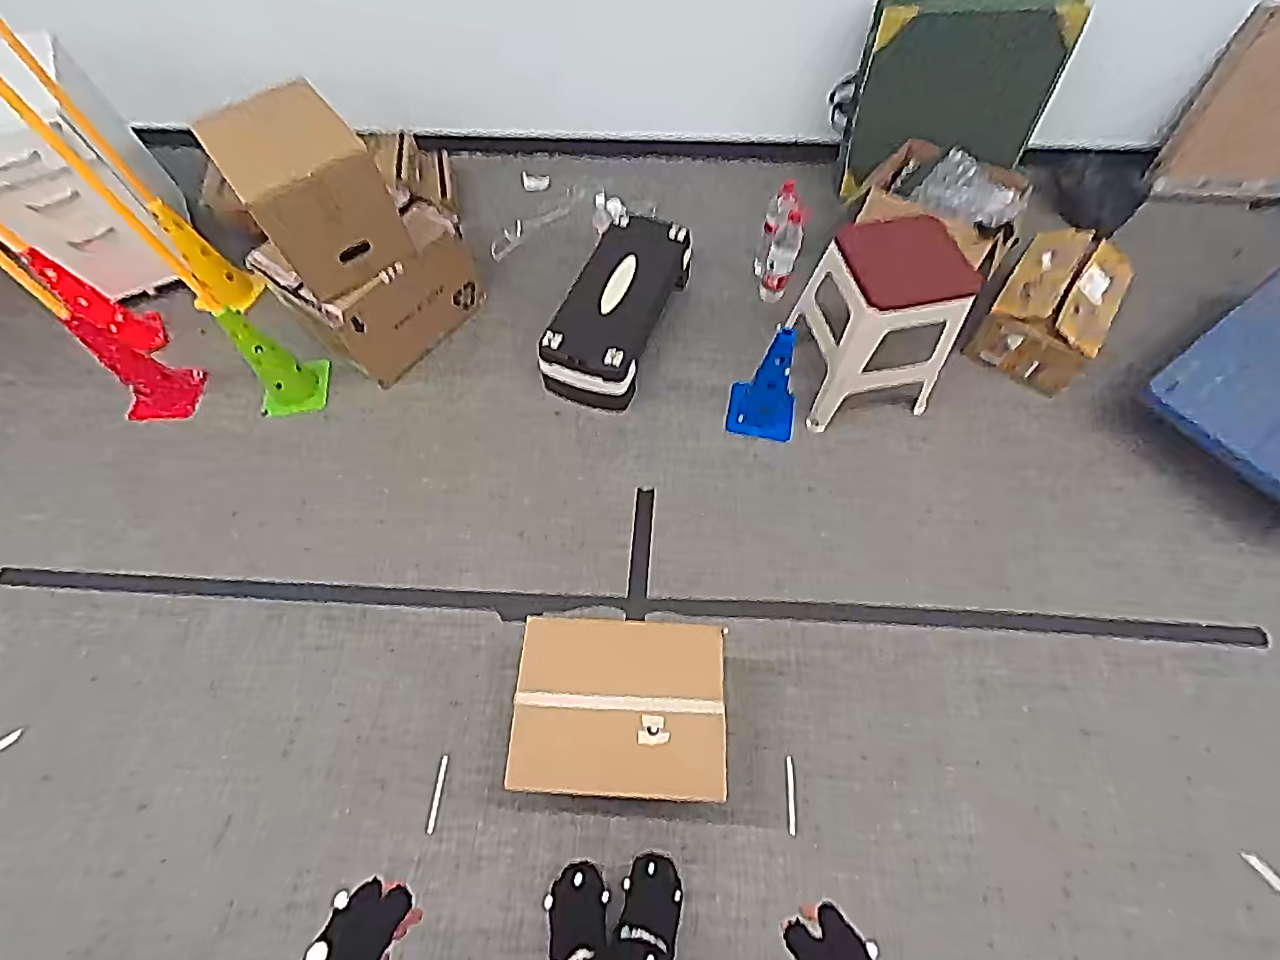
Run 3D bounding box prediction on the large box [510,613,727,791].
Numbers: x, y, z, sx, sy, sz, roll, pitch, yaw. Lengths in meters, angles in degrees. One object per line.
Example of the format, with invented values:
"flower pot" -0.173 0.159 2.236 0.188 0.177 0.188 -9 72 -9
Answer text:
"large box" -0.037 0.486 1.177 0.408 0.320 0.320 3 64 1
